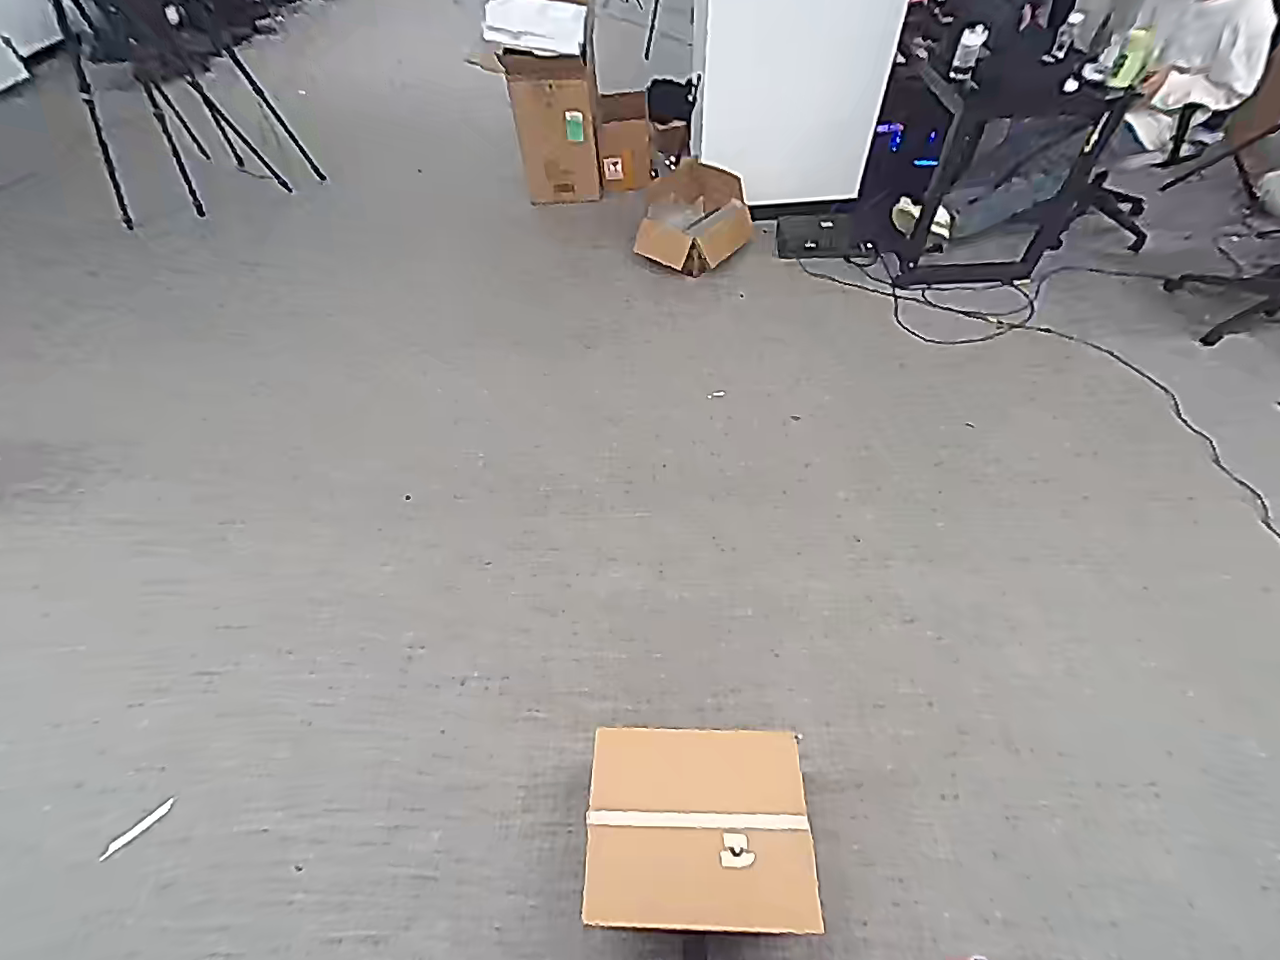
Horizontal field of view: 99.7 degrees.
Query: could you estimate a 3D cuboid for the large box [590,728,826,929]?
[{"bbox_3d":[0.117,0.715,1.110,0.408,0.320,0.320,0,53,2],"label":"large box"}]
